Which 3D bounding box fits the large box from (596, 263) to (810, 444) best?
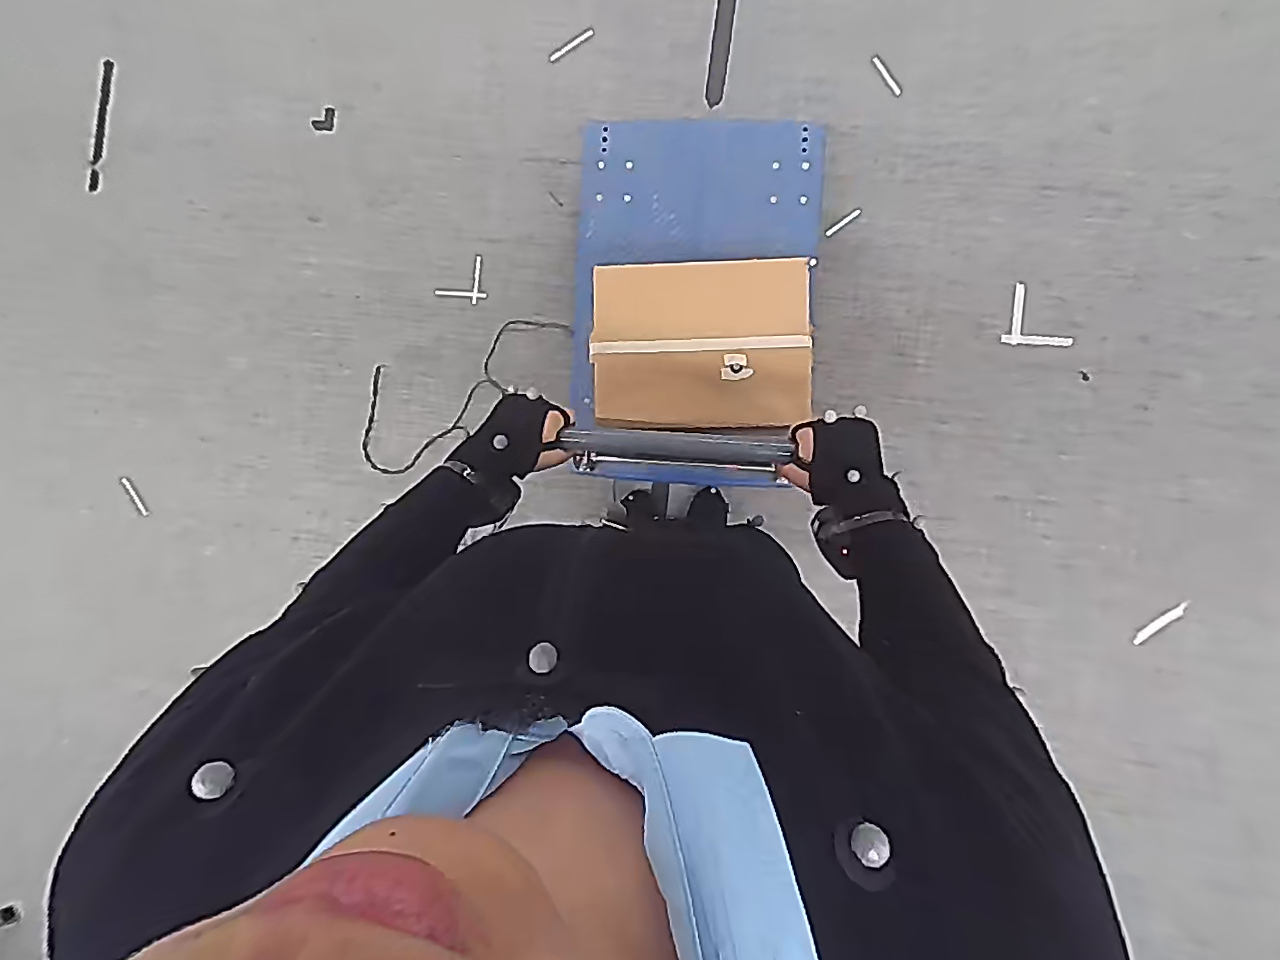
[{"bbox_3d":[0.126,-0.248,1.172,0.408,0.320,0.320,-1,91,4],"label":"large box"}]
